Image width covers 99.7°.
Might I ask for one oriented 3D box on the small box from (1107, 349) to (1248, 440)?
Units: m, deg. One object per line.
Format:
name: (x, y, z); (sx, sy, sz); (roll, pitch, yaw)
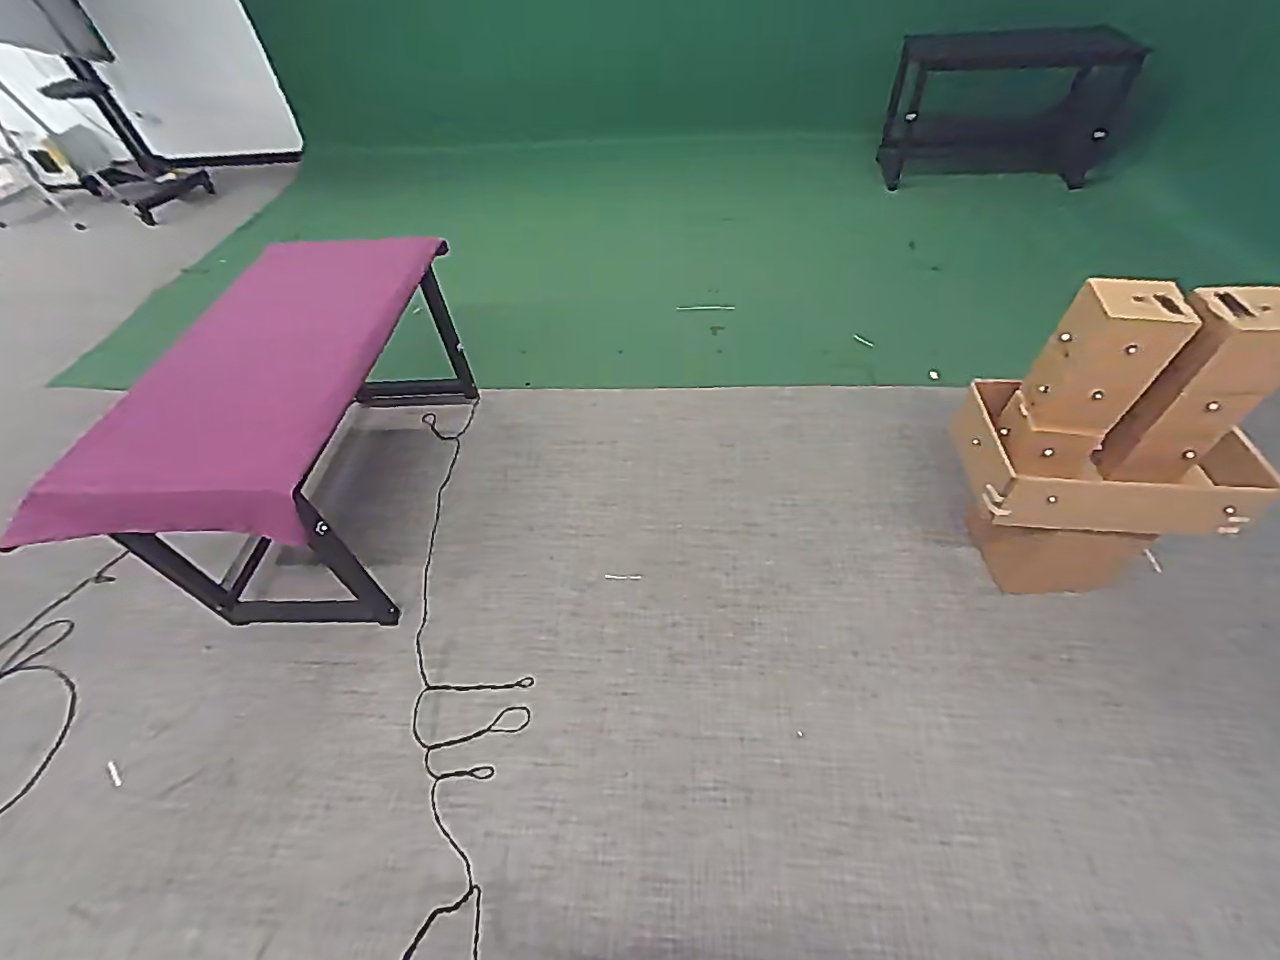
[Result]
small box: (1.334, -0.213, 1.368); (0.179, 0.176, 0.168); (0, 50, 7)

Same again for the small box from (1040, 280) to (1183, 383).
small box: (1.100, -0.348, 1.279); (0.179, 0.176, 0.168); (7, 51, 10)

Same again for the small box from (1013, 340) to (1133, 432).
small box: (1.105, -0.242, 1.404); (0.179, 0.176, 0.168); (8, 51, 9)

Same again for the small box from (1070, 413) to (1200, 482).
small box: (1.349, -0.108, 1.489); (0.179, 0.176, 0.168); (2, 49, 7)
